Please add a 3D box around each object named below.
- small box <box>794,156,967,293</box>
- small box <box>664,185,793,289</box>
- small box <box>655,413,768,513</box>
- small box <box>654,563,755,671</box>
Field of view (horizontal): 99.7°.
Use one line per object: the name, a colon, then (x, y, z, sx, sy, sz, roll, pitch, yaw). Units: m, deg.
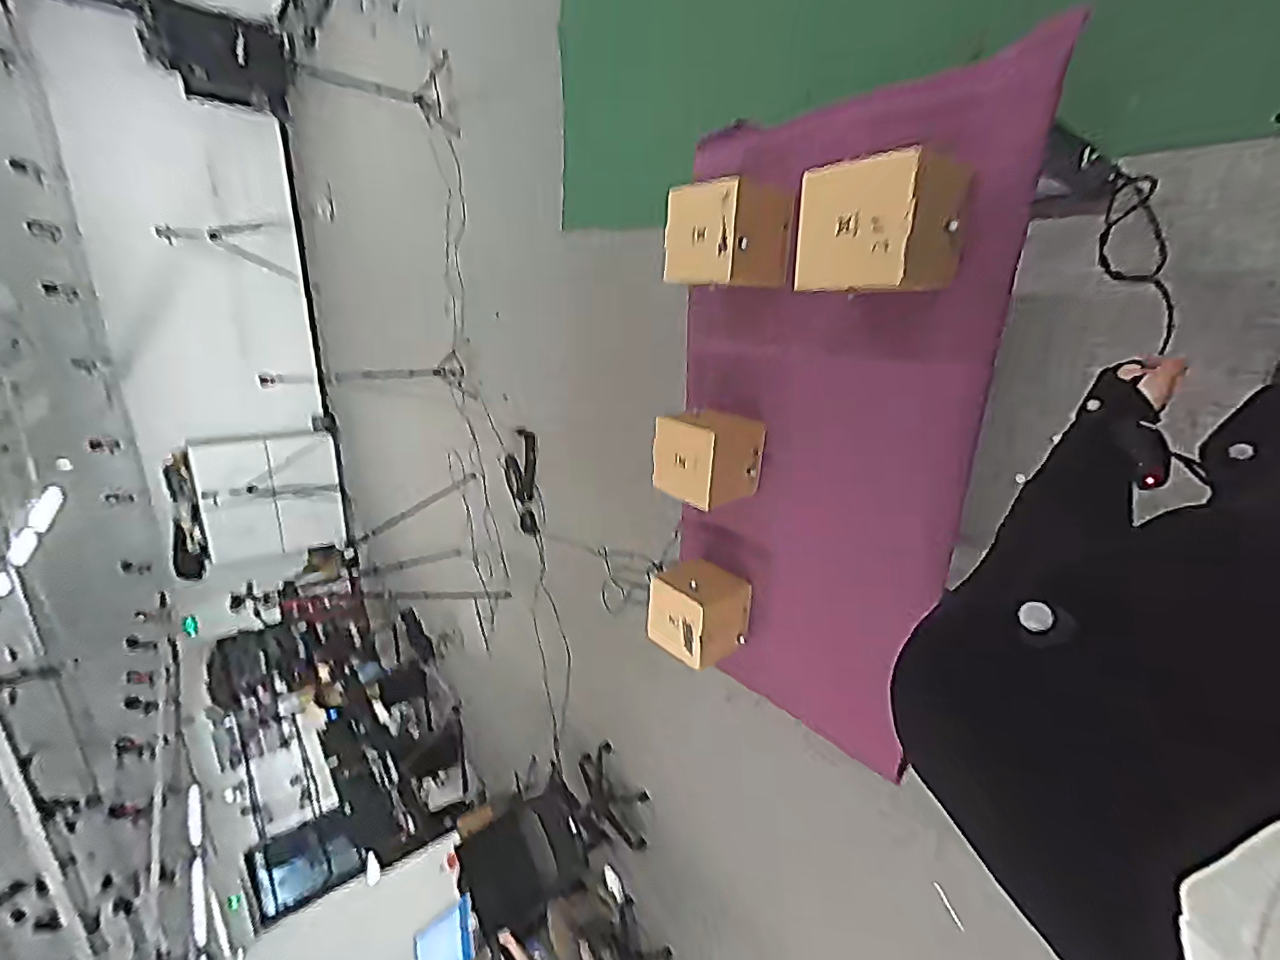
small box: (0.362, -0.374, 0.825, 0.179, 0.176, 0.168, 19, 117, 46)
small box: (0.166, -0.458, 1.043, 0.179, 0.176, 0.168, 21, 118, 46)
small box: (0.154, -0.047, 1.188, 0.179, 0.176, 0.168, 23, 119, 44)
small box: (0.154, 0.316, 1.293, 0.179, 0.176, 0.168, 21, 116, 45)
